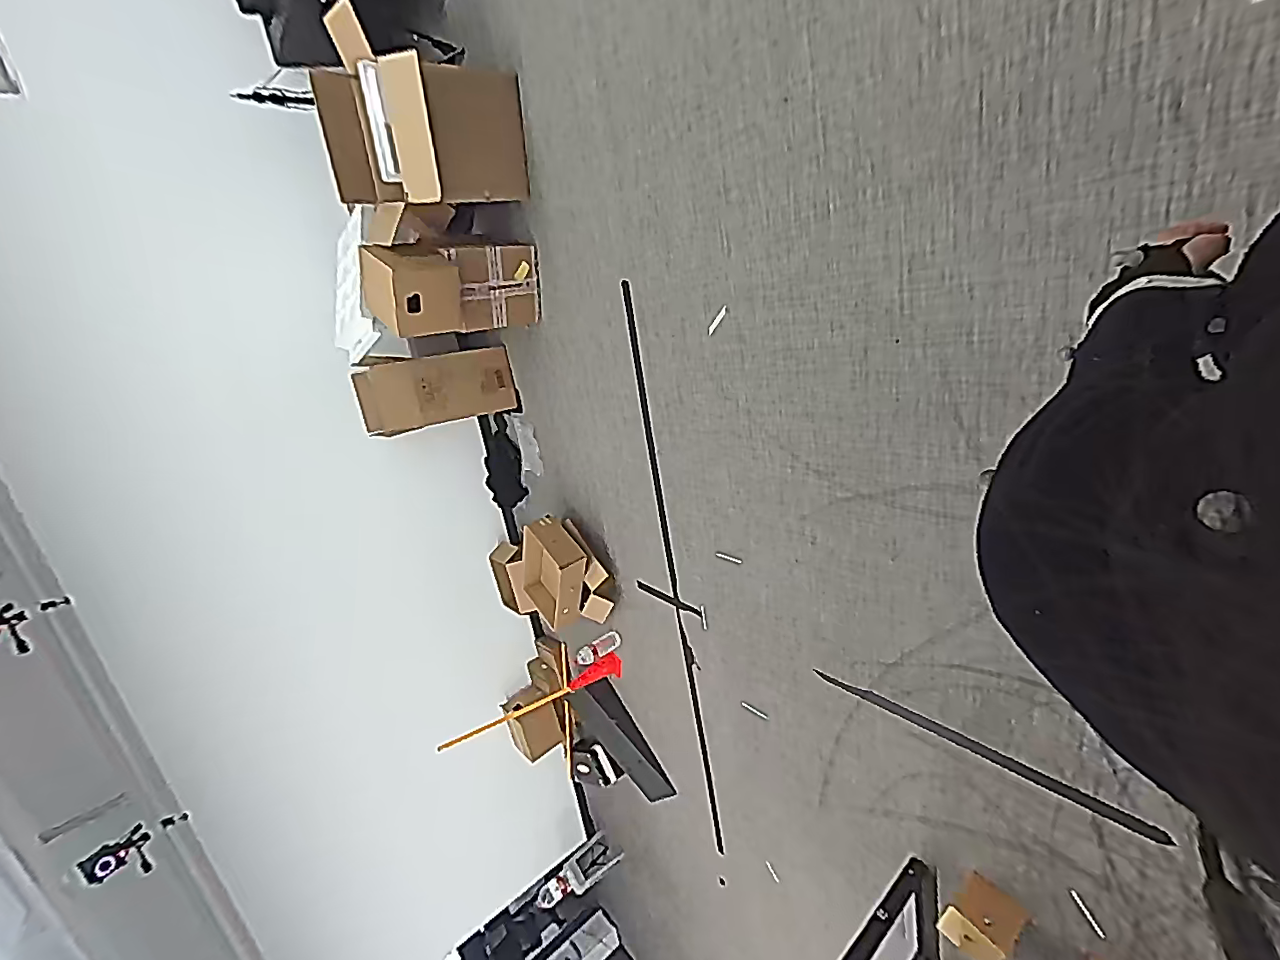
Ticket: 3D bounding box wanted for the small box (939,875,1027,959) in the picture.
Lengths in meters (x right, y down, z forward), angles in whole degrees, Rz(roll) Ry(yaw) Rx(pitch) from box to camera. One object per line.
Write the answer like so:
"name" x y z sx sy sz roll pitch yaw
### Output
"small box" 1.151 1.481 1.816 0.179 0.176 0.168 31 131 40
